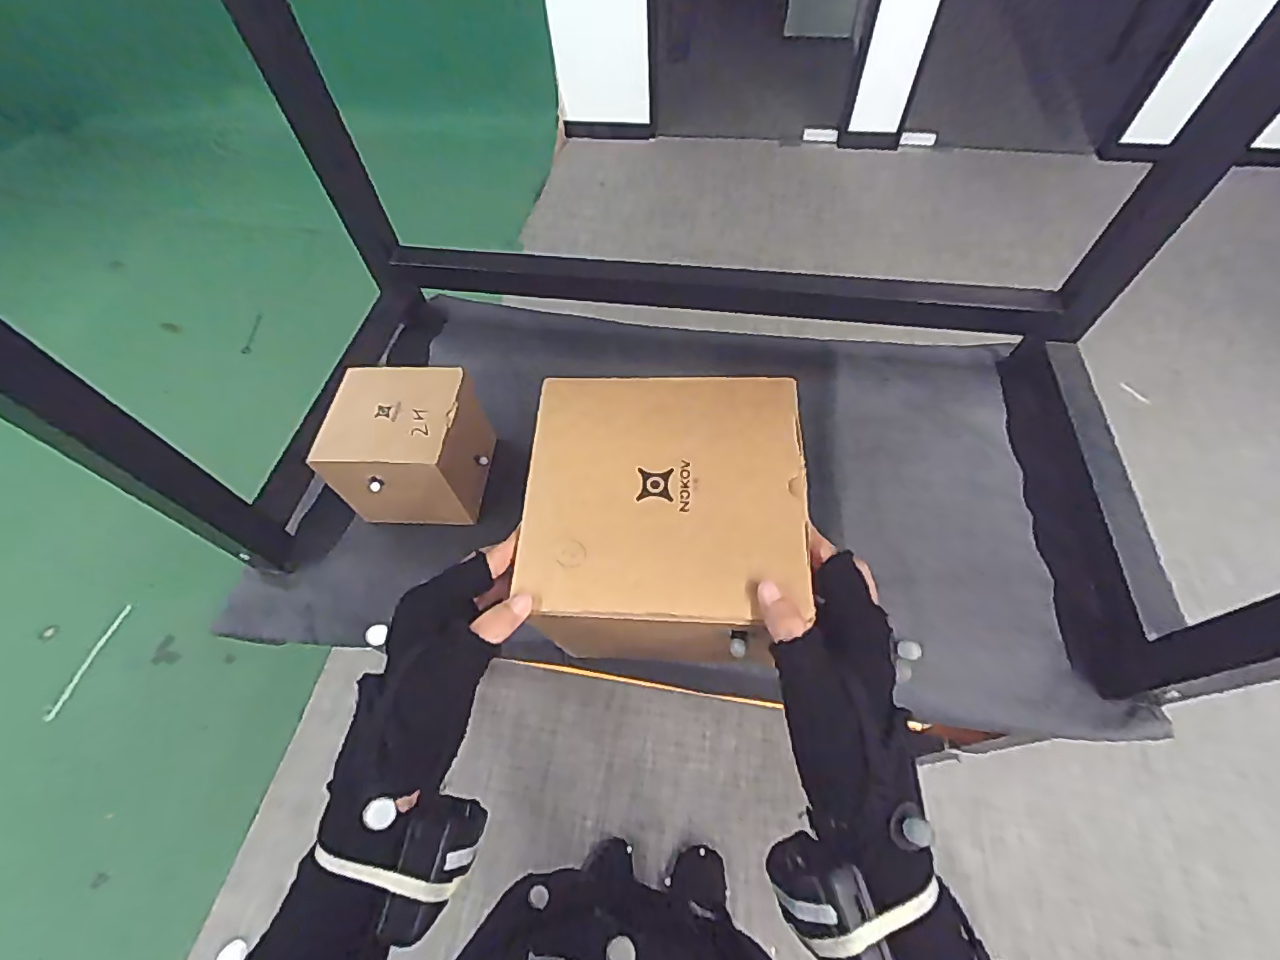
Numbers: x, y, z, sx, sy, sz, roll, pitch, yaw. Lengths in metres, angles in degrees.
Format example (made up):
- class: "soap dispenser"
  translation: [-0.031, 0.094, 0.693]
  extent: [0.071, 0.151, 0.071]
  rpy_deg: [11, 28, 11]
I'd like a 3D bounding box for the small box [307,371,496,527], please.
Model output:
- class: "small box"
  translation: [-0.332, -0.041, 0.793]
  extent: [0.179, 0.176, 0.168]
  rpy_deg: [2, 58, 4]
